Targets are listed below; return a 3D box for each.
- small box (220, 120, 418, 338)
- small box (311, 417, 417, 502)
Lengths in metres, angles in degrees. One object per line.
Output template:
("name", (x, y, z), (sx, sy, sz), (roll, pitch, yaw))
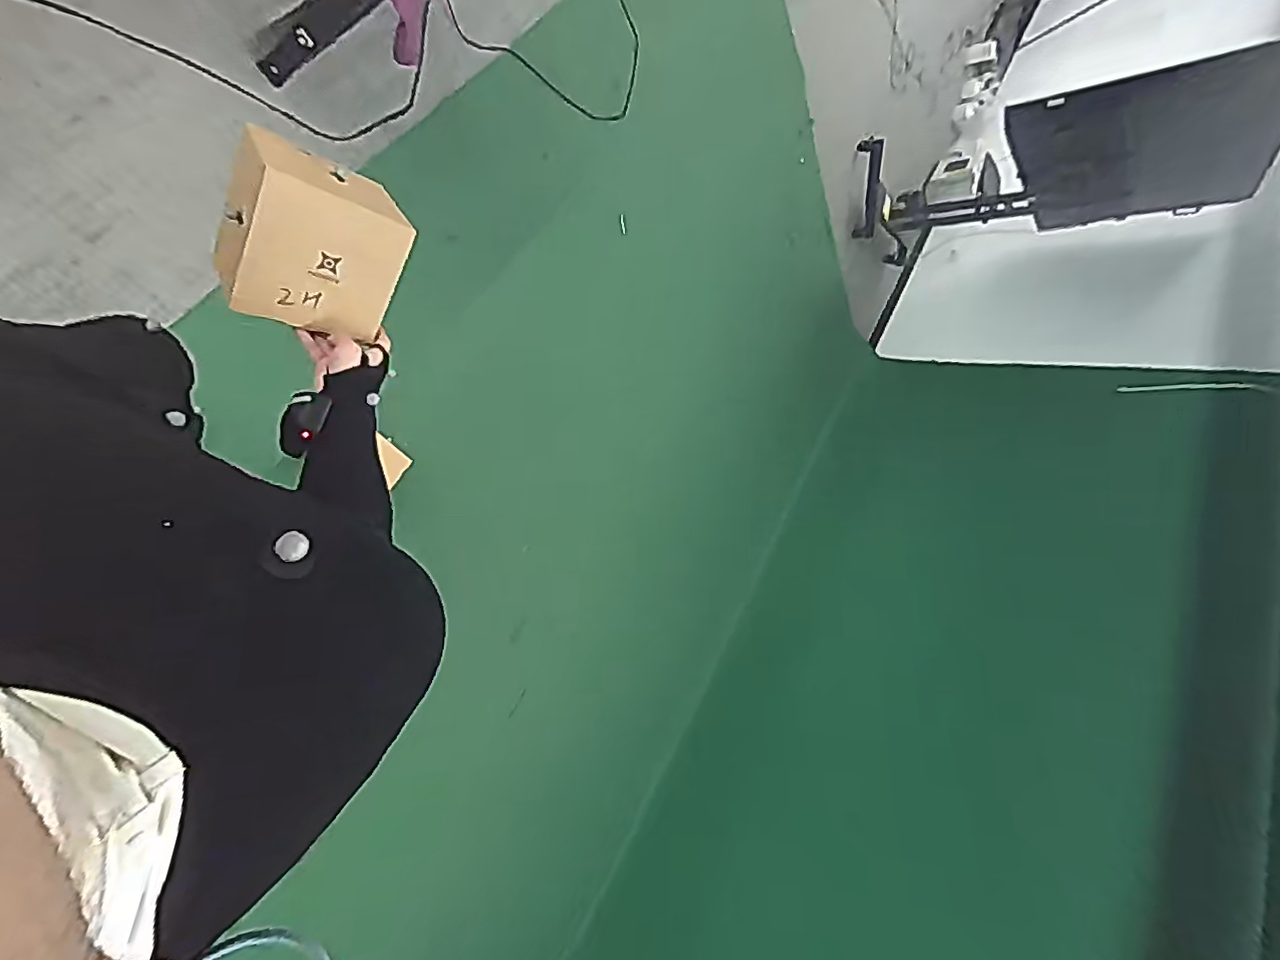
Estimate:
("small box", (-0.419, -0.318, 0.695), (0.168, 0.176, 0.179), (7, 126, -47))
("small box", (-0.782, -0.063, 1.526), (0.168, 0.176, 0.179), (-59, 138, -21))
